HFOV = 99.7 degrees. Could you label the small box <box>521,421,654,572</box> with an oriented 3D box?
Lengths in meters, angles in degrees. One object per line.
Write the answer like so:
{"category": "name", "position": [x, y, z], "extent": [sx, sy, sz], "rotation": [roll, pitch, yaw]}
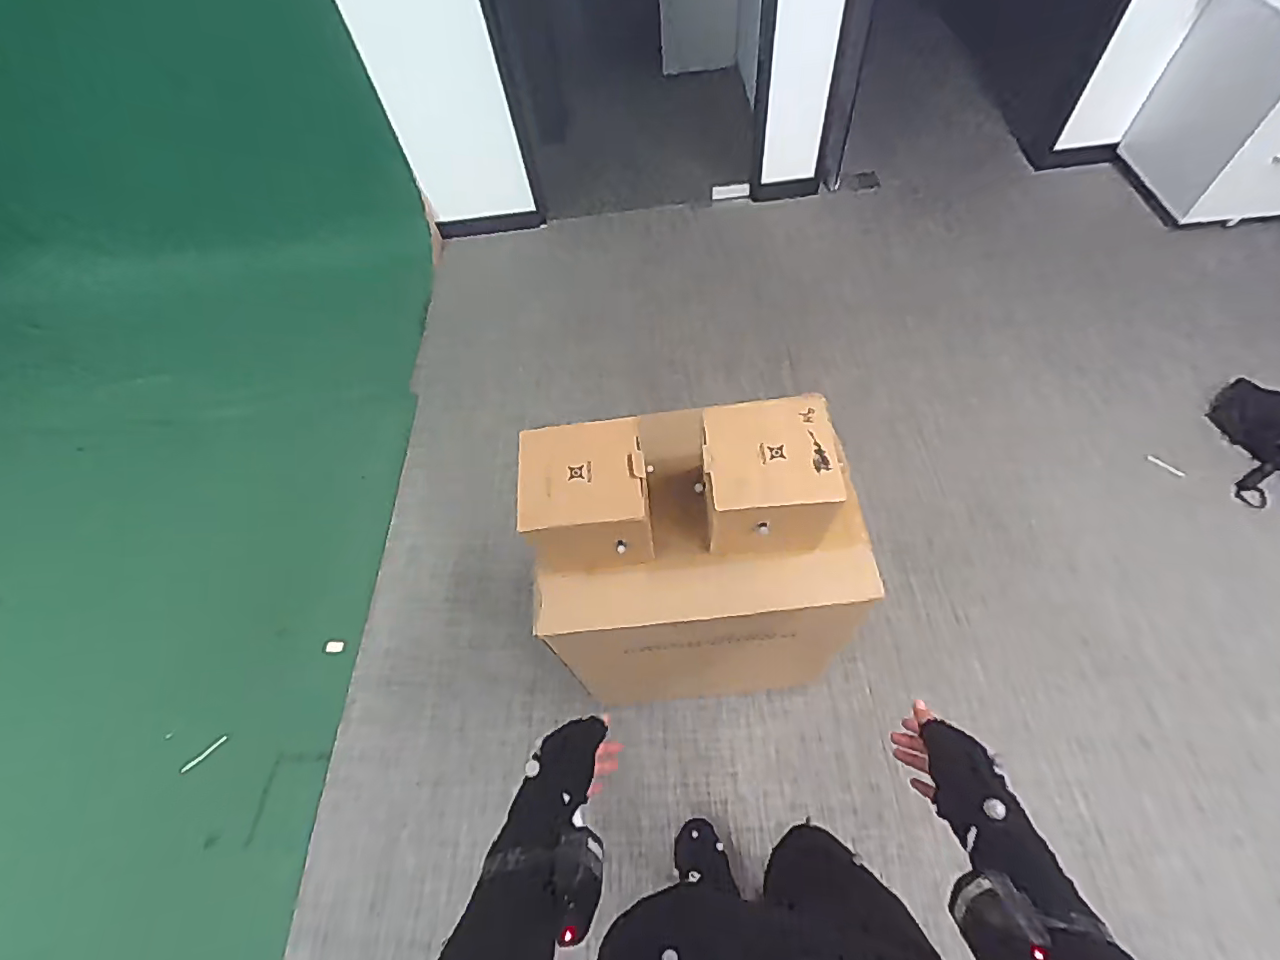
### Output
{"category": "small box", "position": [-0.073, 0.031, 0.830], "extent": [0.179, 0.176, 0.168], "rotation": [-8, 60, 3]}

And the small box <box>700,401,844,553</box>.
{"category": "small box", "position": [0.188, 0.003, 0.818], "extent": [0.179, 0.176, 0.168], "rotation": [-5, 62, 4]}
